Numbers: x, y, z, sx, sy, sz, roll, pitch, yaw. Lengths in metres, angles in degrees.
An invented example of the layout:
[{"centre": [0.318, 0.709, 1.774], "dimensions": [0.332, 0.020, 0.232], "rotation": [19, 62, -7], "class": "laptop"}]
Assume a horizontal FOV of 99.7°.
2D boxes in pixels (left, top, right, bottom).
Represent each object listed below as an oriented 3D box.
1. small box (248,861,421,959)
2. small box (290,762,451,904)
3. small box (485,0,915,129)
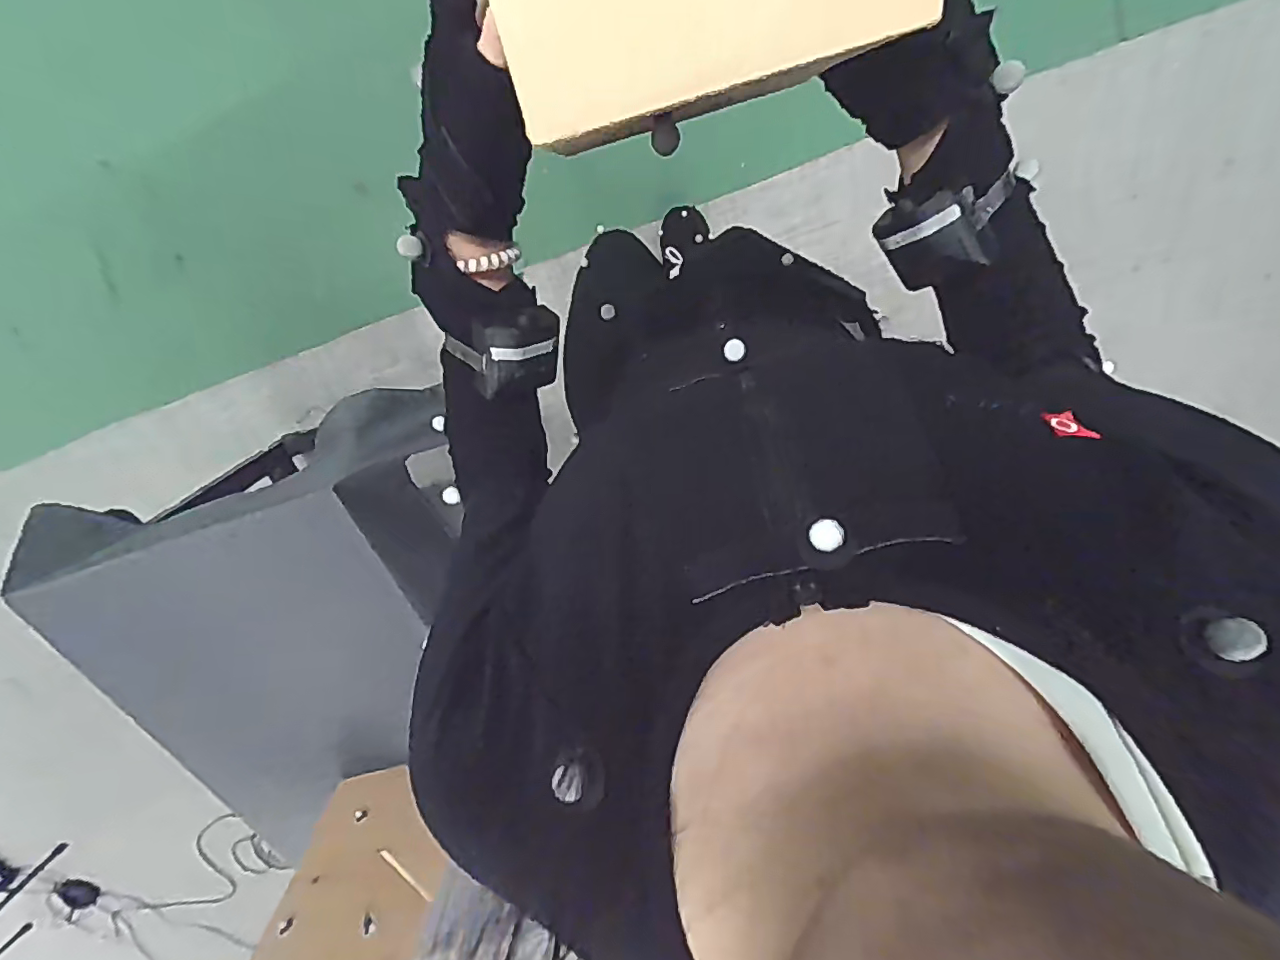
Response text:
[{"centre": [-0.481, 0.733, 0.850], "dimensions": [0.168, 0.176, 0.179], "rotation": [-18, 115, 9], "class": "small box"}, {"centre": [-0.480, 0.658, 0.995], "dimensions": [0.179, 0.176, 0.168], "rotation": [-17, 115, 7], "class": "small box"}, {"centre": [0.008, -0.275, 0.239], "dimensions": [0.168, 0.176, 0.179], "rotation": [-14, 118, 6], "class": "small box"}]
